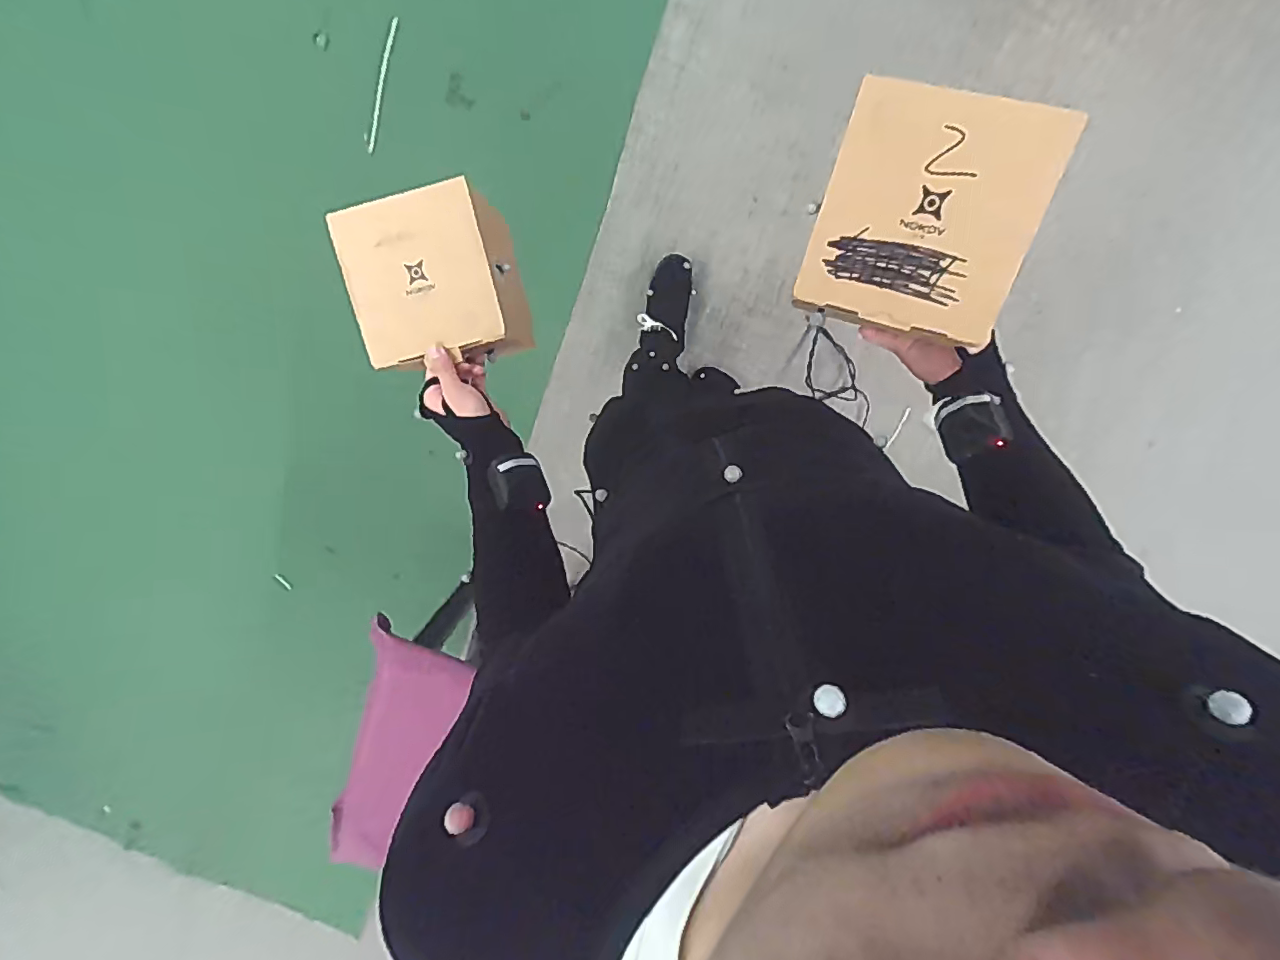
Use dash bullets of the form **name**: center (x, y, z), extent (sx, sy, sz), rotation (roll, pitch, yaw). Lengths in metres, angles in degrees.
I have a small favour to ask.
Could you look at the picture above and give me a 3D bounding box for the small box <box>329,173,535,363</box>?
- **small box**: center (-0.244, -0.249, 0.683), extent (0.168, 0.176, 0.179), rotation (-12, 99, 4)
